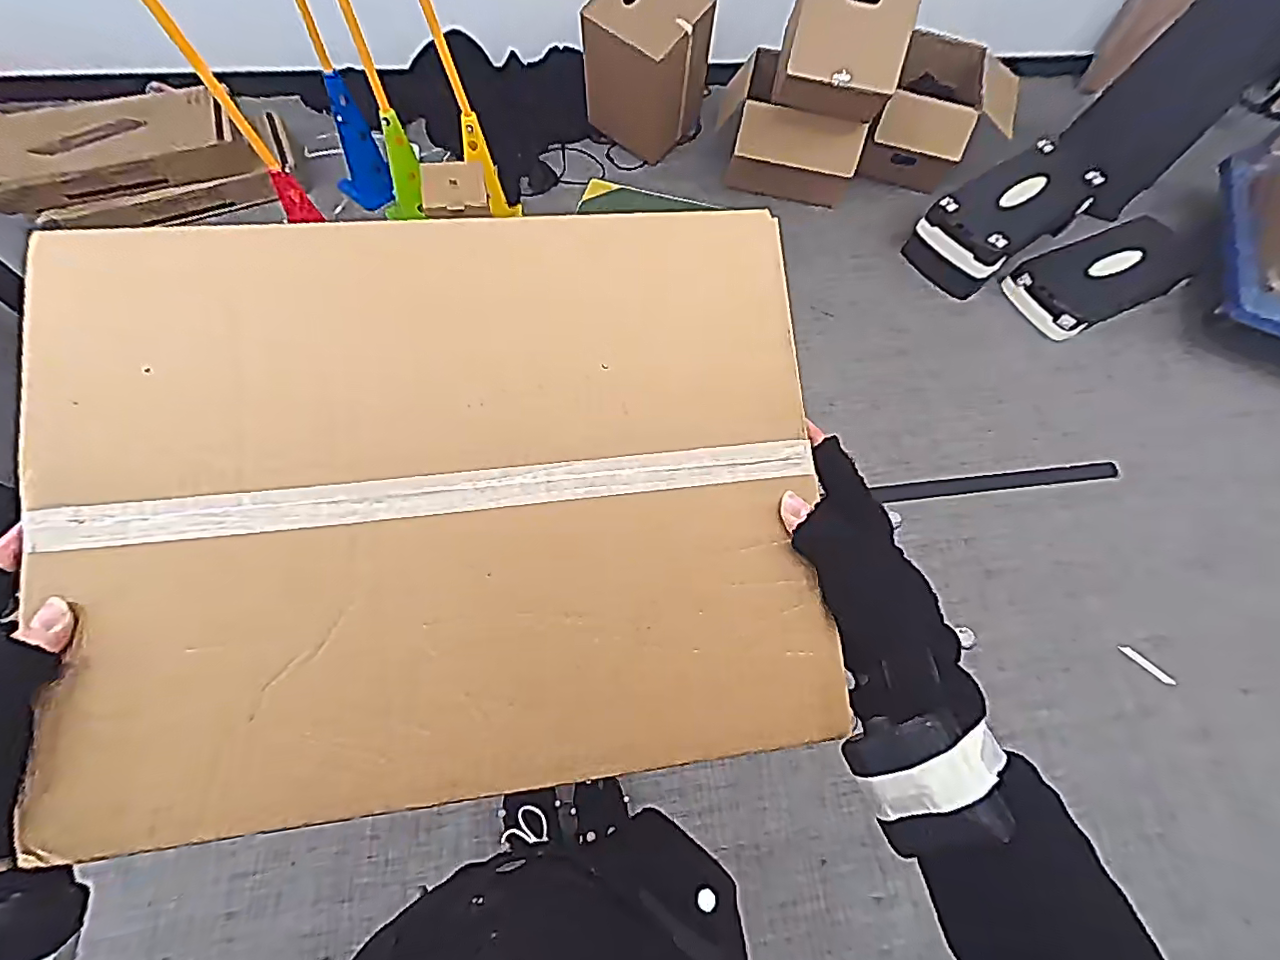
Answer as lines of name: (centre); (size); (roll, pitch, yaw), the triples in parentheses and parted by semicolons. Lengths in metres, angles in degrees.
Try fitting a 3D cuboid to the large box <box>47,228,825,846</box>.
large box: (-0.119, 0.026, 0.450); (0.408, 0.320, 0.320); (-5, 82, -8)
